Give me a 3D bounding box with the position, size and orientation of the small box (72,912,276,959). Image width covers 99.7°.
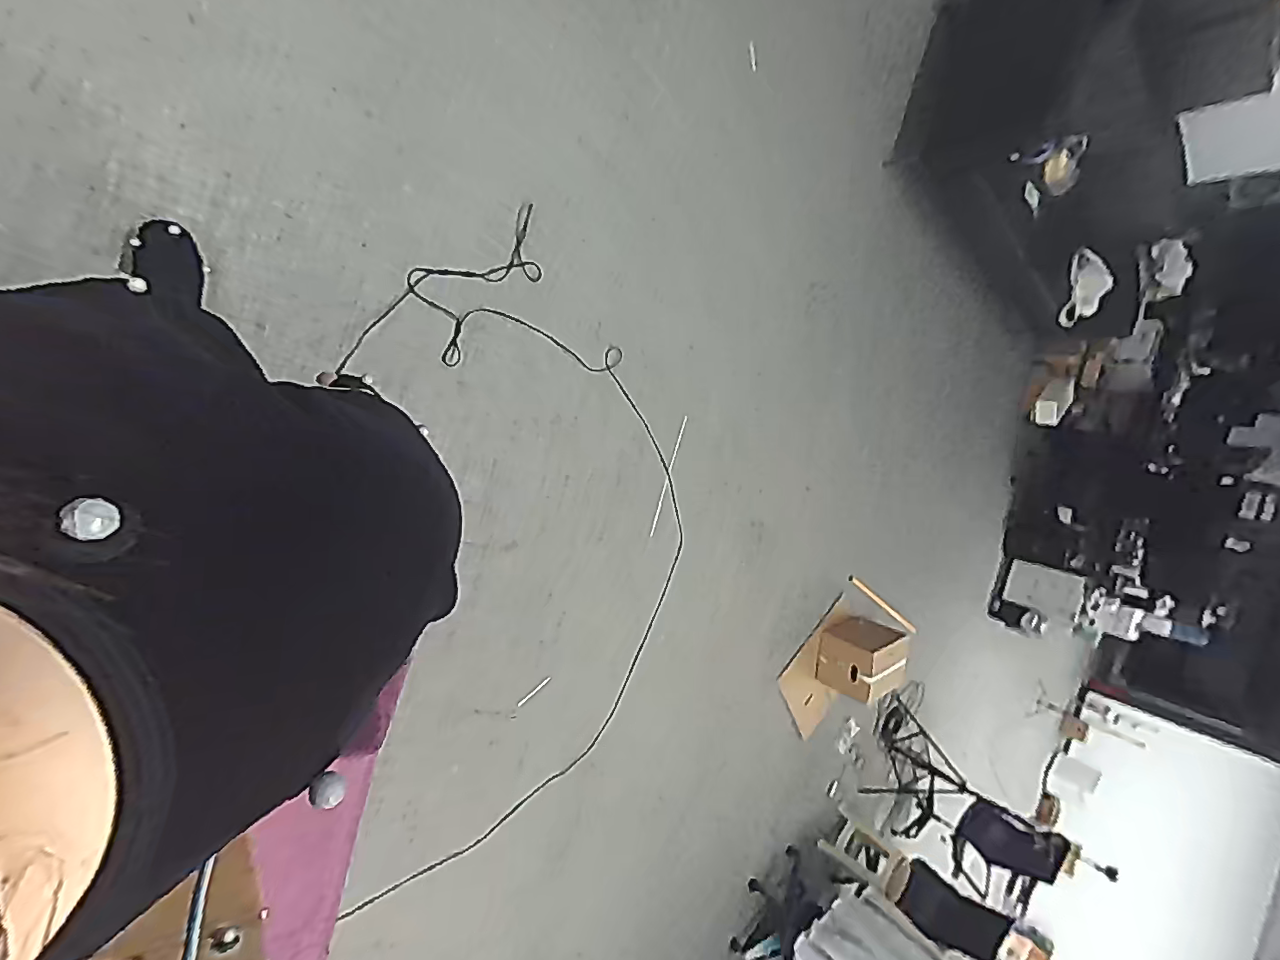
[{"bbox_3d":[-0.445,0.548,0.494,0.168,0.176,0.179,13,95,-41],"label":"small box"}]

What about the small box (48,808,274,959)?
[{"bbox_3d":[-0.548,0.513,0.617,0.179,0.176,0.168,13,93,-41],"label":"small box"}]
